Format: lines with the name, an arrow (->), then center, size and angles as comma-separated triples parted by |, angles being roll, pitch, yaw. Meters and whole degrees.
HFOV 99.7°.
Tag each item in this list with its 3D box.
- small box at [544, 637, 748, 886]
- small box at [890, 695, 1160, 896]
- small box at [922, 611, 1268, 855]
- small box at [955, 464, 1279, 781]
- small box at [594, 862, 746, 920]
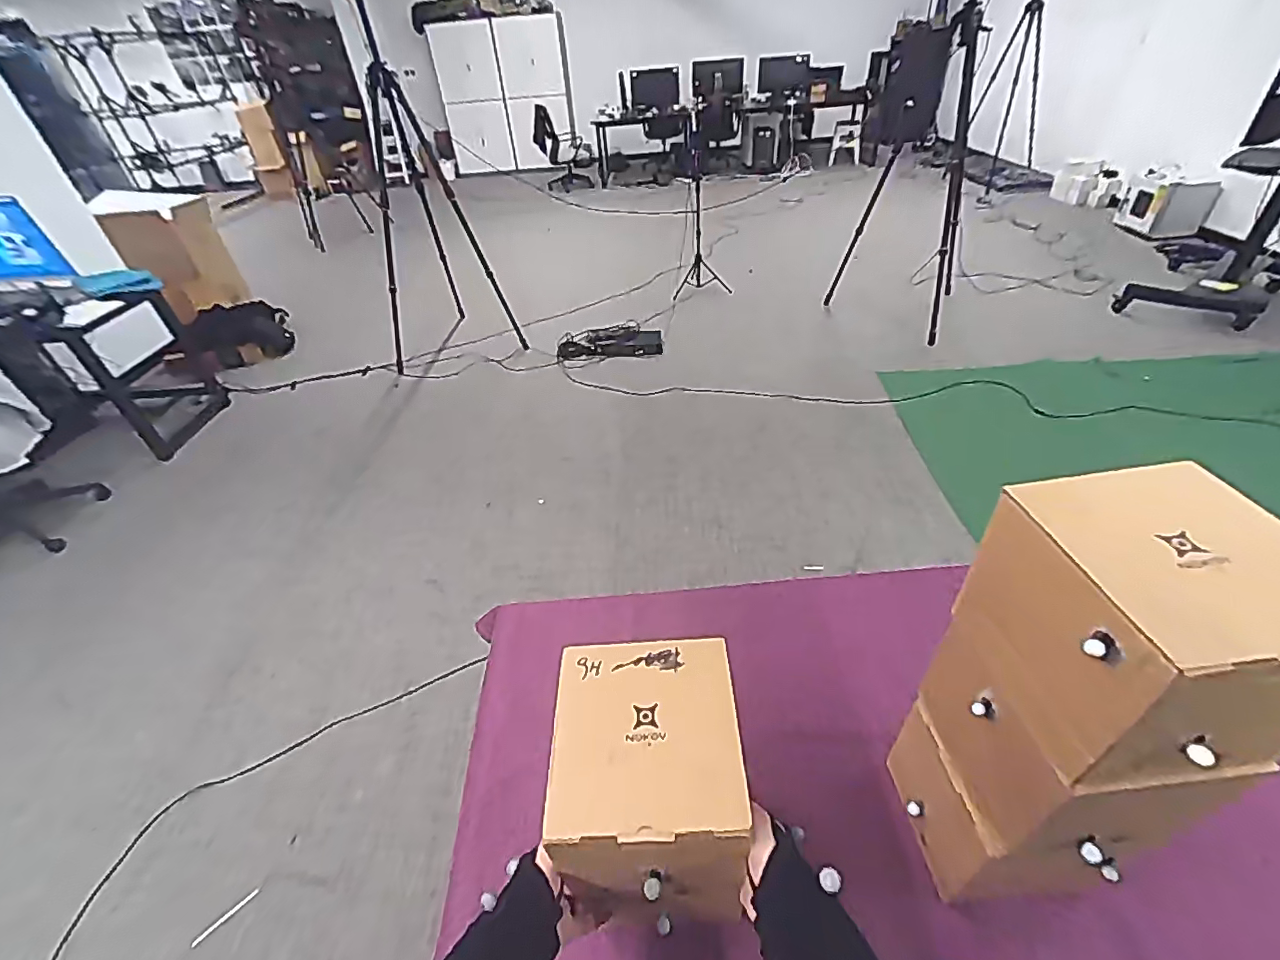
small box -> 0.012, 0.281, 0.535 | 0.168, 0.176, 0.179 | -4, 41, 3
small box -> 0.426, 0.367, 0.639 | 0.179, 0.176, 0.168 | -5, 39, 1
small box -> 0.413, 0.240, 0.538 | 0.168, 0.176, 0.179 | -6, 40, 1
small box -> 0.396, 0.111, 0.439 | 0.168, 0.176, 0.179 | -8, 40, -1
small box -> 0.028, 0.399, 0.651 | 0.168, 0.176, 0.179 | -4, 40, 2
